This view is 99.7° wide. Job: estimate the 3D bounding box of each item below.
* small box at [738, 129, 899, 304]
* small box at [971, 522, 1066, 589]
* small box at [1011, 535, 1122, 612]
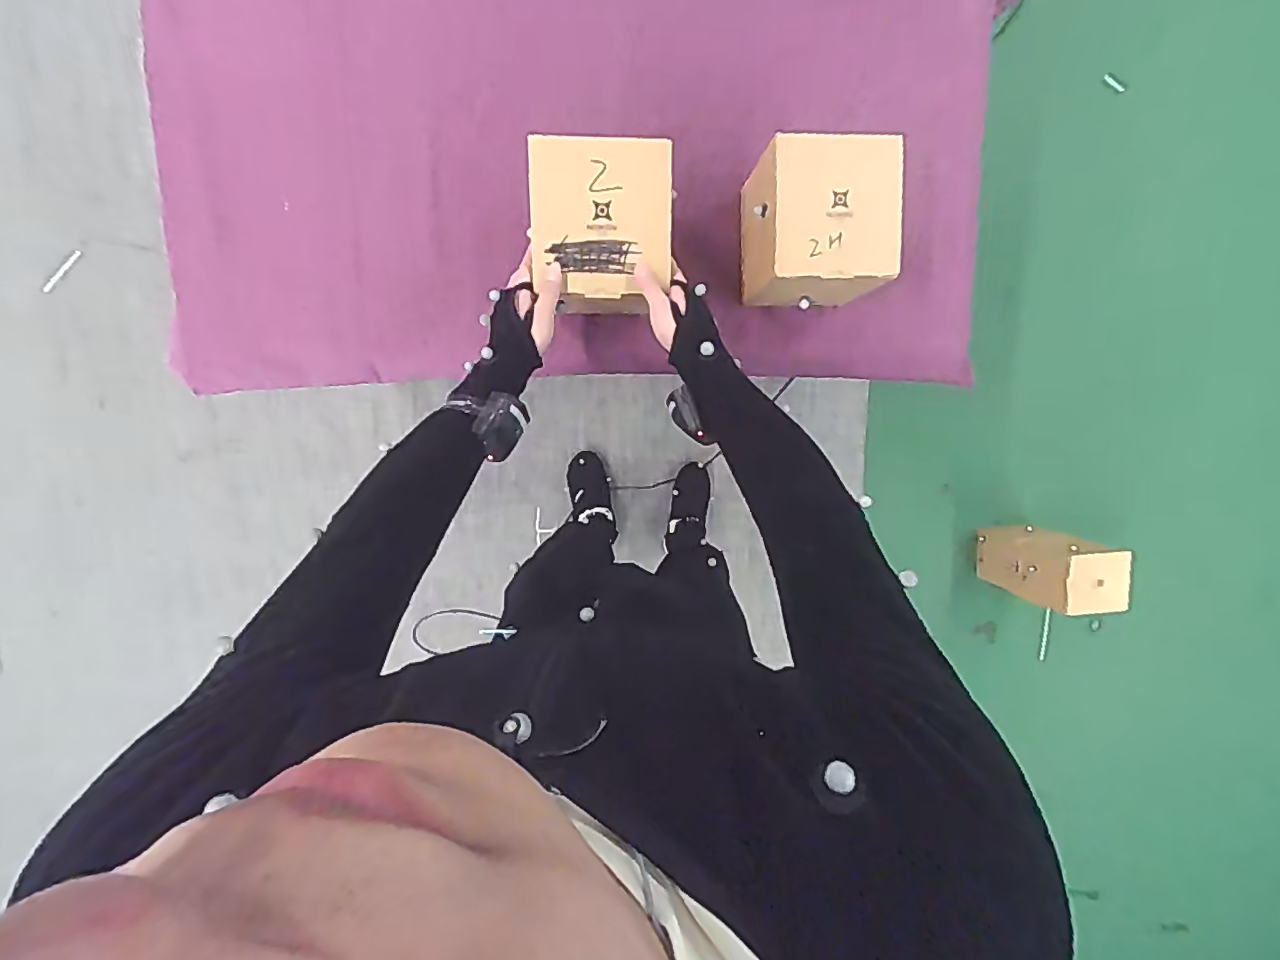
[{"bbox_3d":[0.239,-0.357,0.762,0.168,0.176,0.179,-1,97,-4],"label":"small box"},{"bbox_3d":[1.154,0.228,1.661,0.179,0.176,0.168,-3,98,-6],"label":"small box"},{"bbox_3d":[1.177,0.253,1.502,0.179,0.176,0.168,-4,98,-4],"label":"small box"}]
